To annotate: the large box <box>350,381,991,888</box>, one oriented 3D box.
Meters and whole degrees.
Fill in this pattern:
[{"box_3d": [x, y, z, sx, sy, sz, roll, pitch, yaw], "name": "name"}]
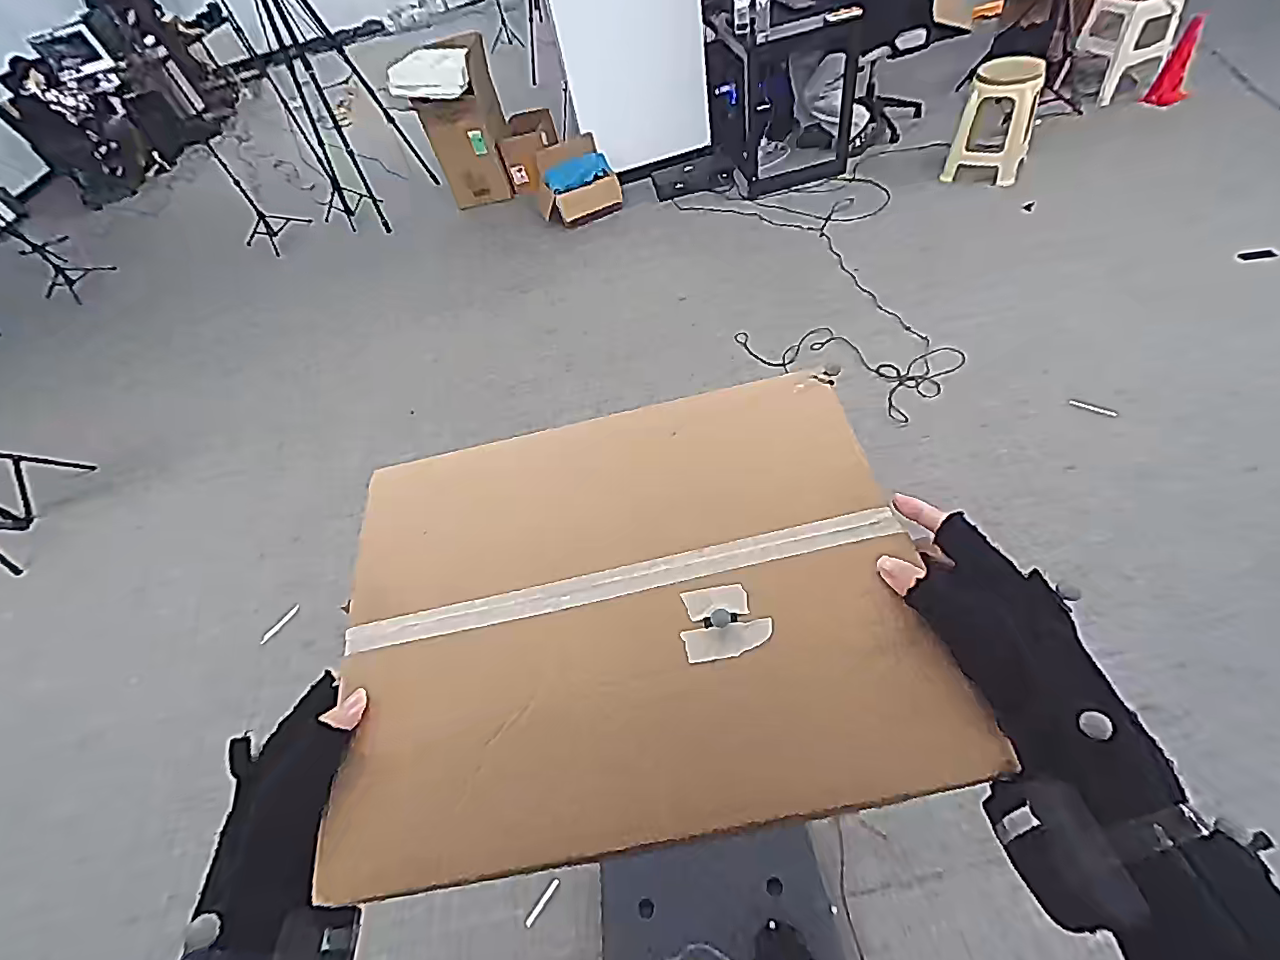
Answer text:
[{"box_3d": [0.012, 0.159, 0.527, 0.408, 0.320, 0.320, -13, 56, 2], "name": "large box"}]
